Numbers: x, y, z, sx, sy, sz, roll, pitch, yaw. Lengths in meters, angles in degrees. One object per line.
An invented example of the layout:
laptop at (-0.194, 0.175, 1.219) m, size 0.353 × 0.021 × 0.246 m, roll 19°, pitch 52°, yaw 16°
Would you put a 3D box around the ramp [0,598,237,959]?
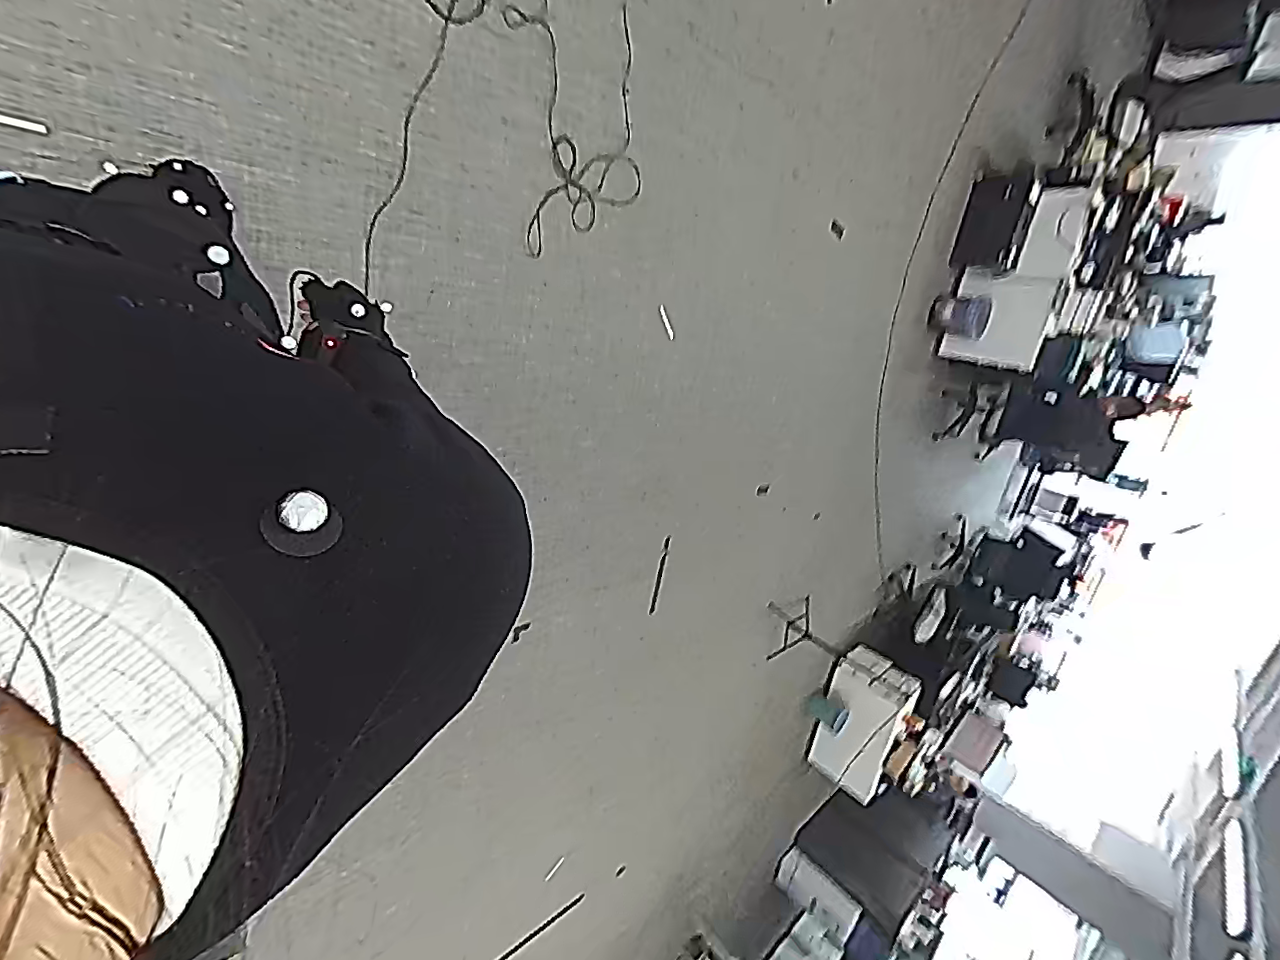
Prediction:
ramp at (-1.228, 0.784, 1.212) m, size 0.509 × 0.206 × 0.991 m, roll -6°, pitch 113°, yaw -43°
